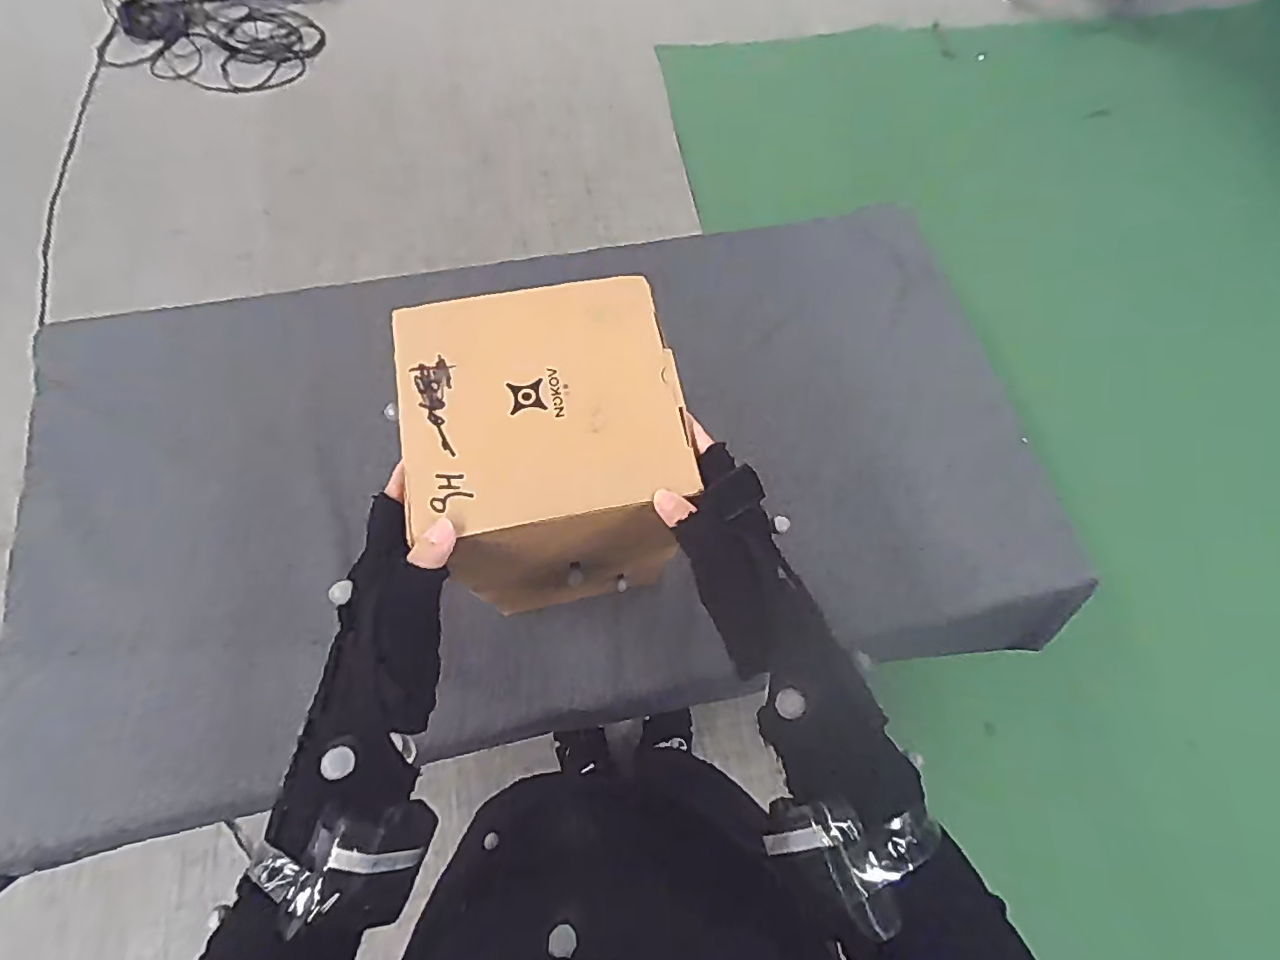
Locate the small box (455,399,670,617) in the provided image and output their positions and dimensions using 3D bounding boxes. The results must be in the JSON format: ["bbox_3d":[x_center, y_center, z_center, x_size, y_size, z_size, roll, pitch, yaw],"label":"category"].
[{"bbox_3d":[-0.079,0.038,0.578,0.179,0.176,0.168,-13,69,-7],"label":"small box"}]
